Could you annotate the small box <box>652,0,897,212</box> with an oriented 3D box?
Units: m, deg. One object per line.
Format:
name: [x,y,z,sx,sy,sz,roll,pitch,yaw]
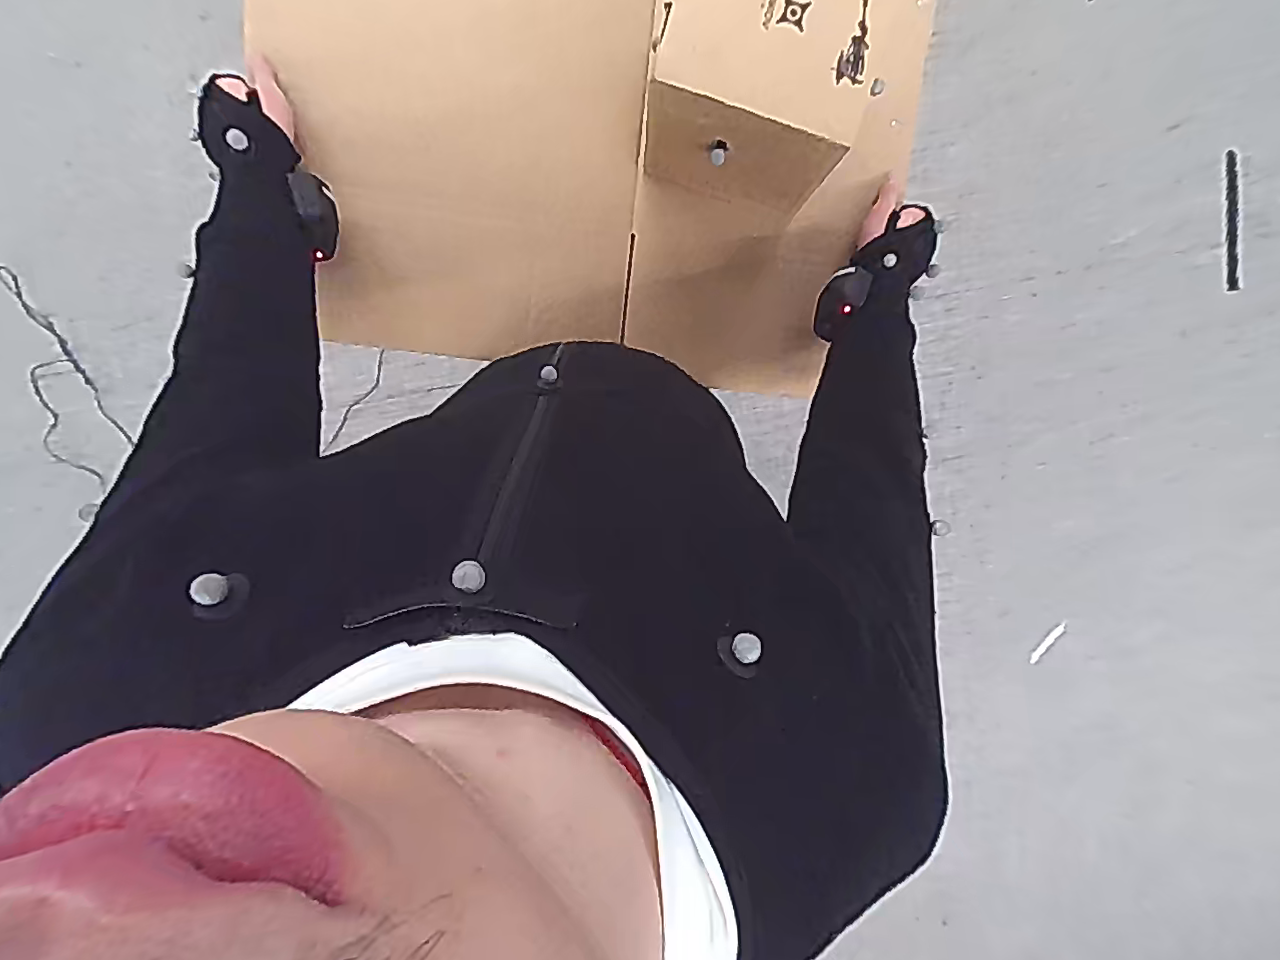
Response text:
small box: [0.115,-0.386,0.518,0.179,0.176,0.168,17,96,-3]
